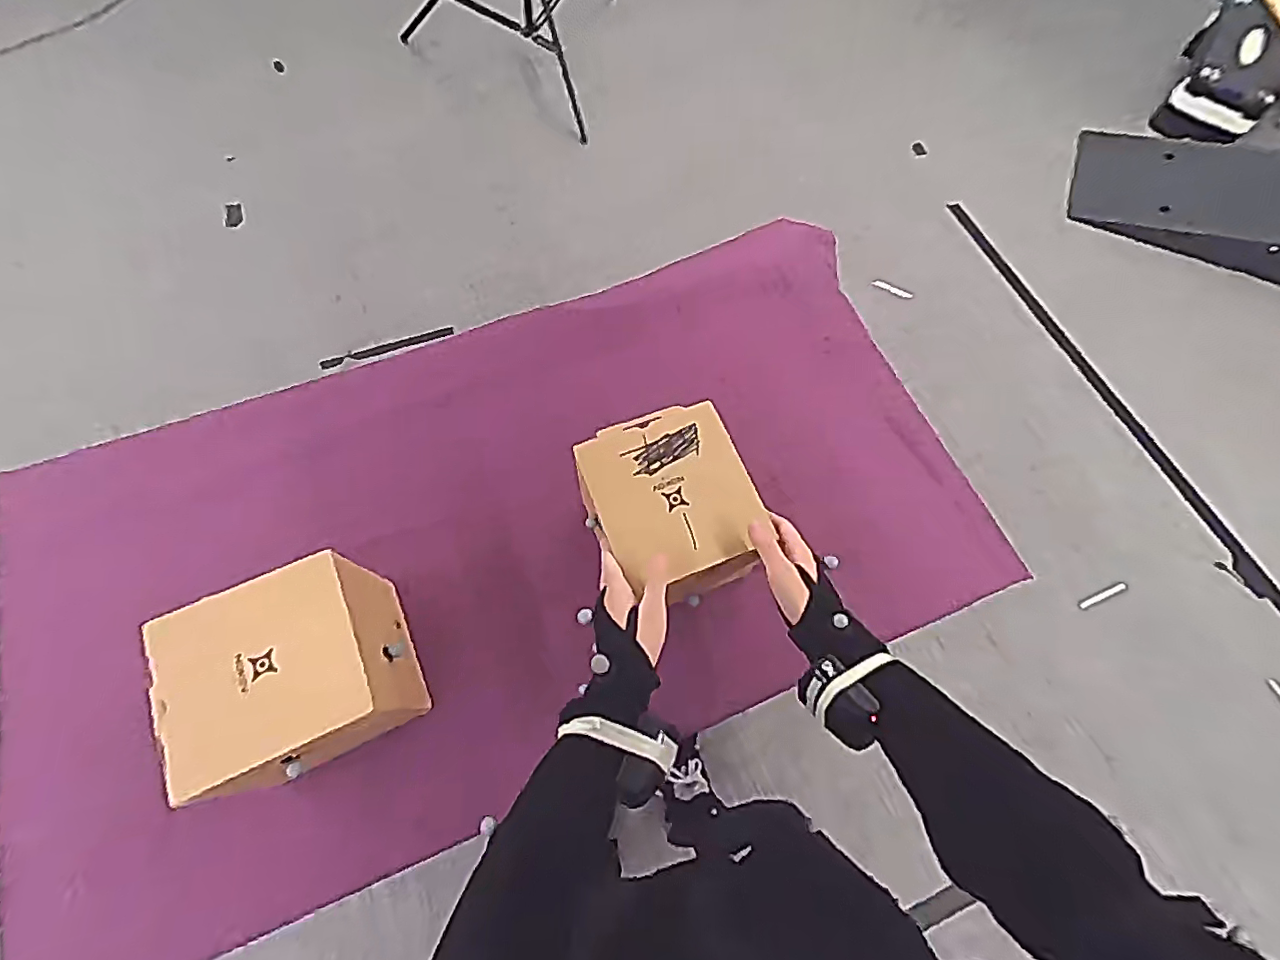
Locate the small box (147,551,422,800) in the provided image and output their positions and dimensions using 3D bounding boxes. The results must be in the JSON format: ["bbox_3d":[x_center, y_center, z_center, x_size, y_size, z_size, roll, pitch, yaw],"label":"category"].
[{"bbox_3d":[-0.350,0.197,0.570,0.179,0.176,0.168,-24,71,-10],"label":"small box"}]

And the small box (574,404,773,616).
[{"bbox_3d":[0.028,0.043,0.641,0.168,0.176,0.179,-19,70,-9],"label":"small box"}]
